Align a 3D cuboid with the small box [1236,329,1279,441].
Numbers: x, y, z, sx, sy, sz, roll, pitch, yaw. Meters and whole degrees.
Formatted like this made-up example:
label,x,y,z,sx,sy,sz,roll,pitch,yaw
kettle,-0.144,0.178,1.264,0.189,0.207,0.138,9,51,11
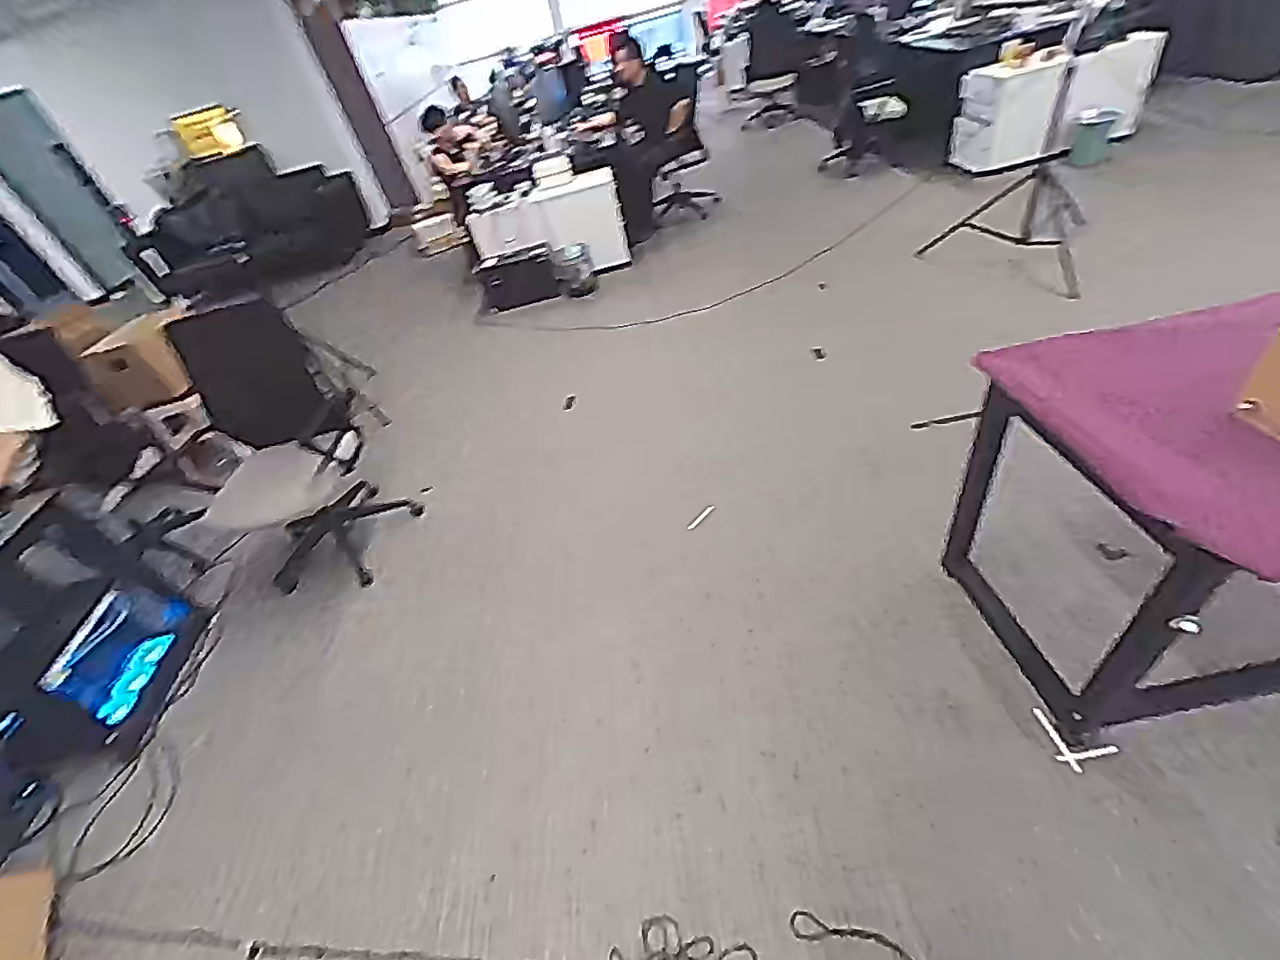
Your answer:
label,x,y,z,sx,sy,sz,roll,pitch,yaw
small box,1.166,-0.157,0.895,0.179,0.176,0.168,-13,42,3
